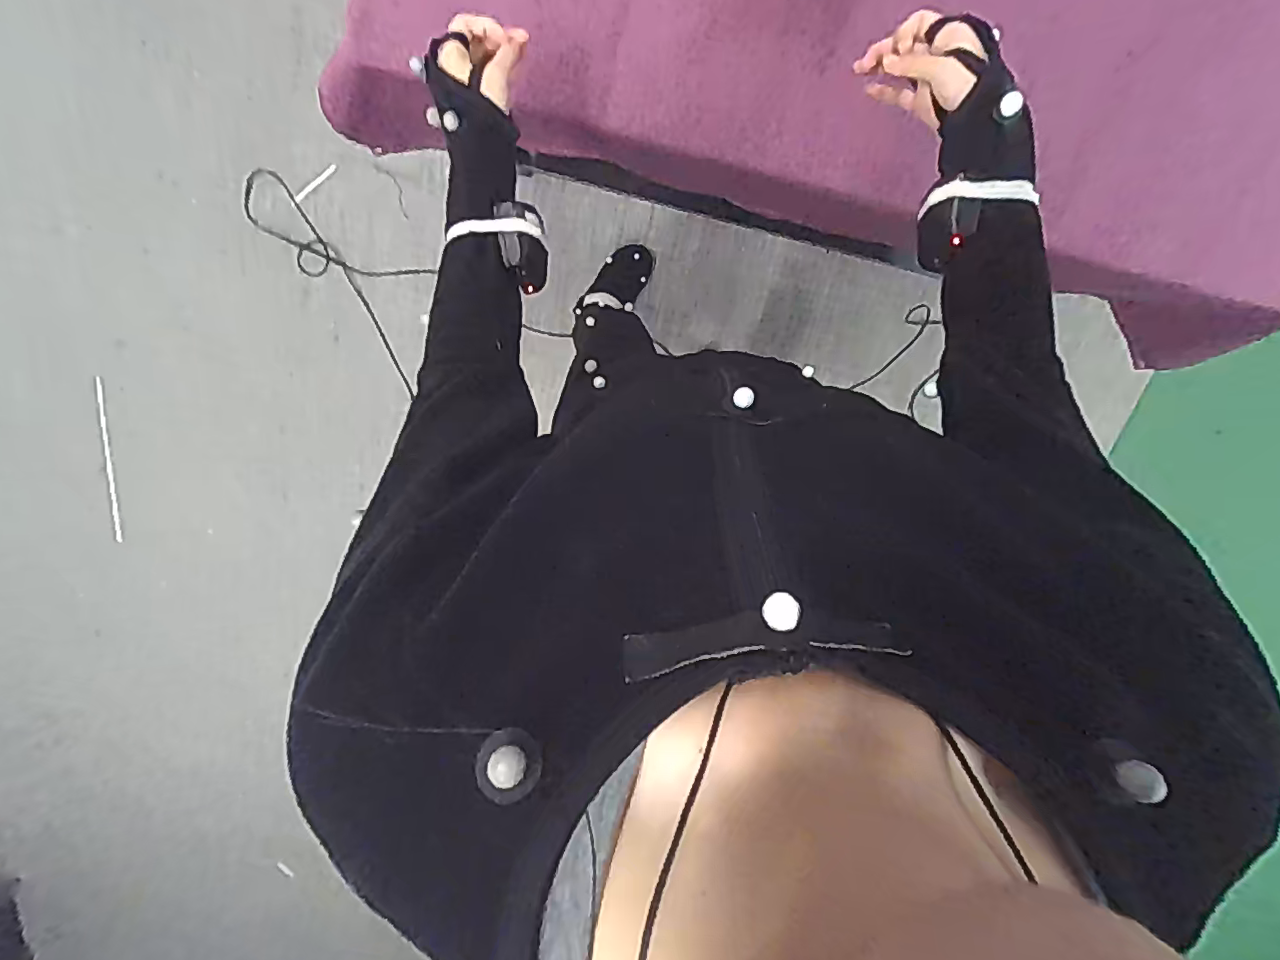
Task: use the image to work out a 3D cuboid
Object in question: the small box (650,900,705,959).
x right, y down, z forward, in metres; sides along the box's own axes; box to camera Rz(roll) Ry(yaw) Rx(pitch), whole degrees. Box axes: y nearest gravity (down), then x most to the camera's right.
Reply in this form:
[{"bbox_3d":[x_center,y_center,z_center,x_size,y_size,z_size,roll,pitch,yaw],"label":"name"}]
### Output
[{"bbox_3d":[0.135,1.736,2.047,0.179,0.176,0.168,7,108,-4],"label":"small box"}]
